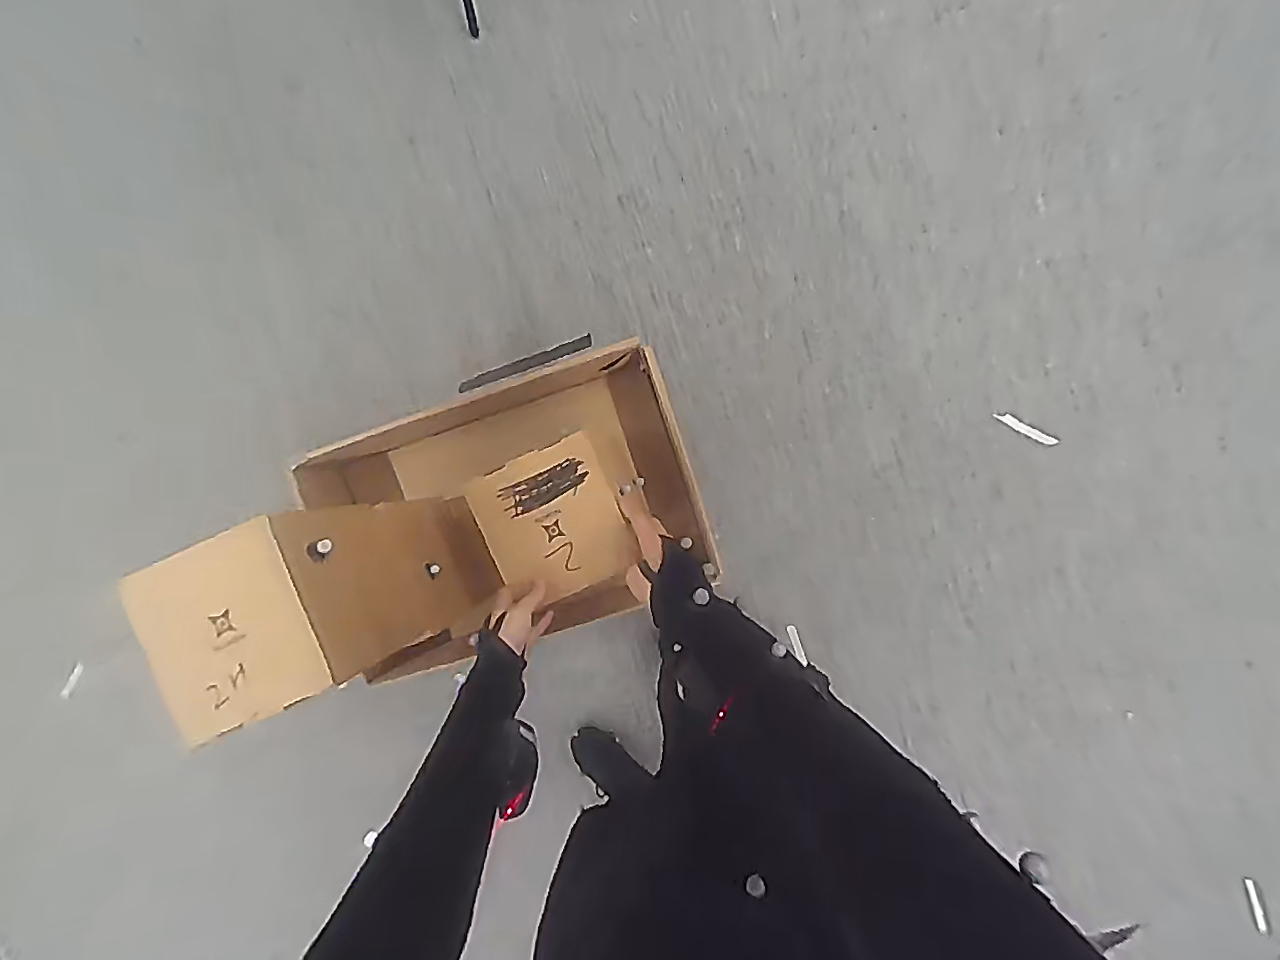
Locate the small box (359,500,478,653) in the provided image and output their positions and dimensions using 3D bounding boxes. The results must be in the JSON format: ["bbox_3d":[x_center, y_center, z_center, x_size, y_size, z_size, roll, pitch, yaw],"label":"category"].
[{"bbox_3d":[-0.349,0.137,0.744,0.168,0.176,0.179,-22,89,4],"label":"small box"}]

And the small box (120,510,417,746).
[{"bbox_3d":[-0.376,0.140,0.580,0.168,0.176,0.179,-23,89,5],"label":"small box"}]
